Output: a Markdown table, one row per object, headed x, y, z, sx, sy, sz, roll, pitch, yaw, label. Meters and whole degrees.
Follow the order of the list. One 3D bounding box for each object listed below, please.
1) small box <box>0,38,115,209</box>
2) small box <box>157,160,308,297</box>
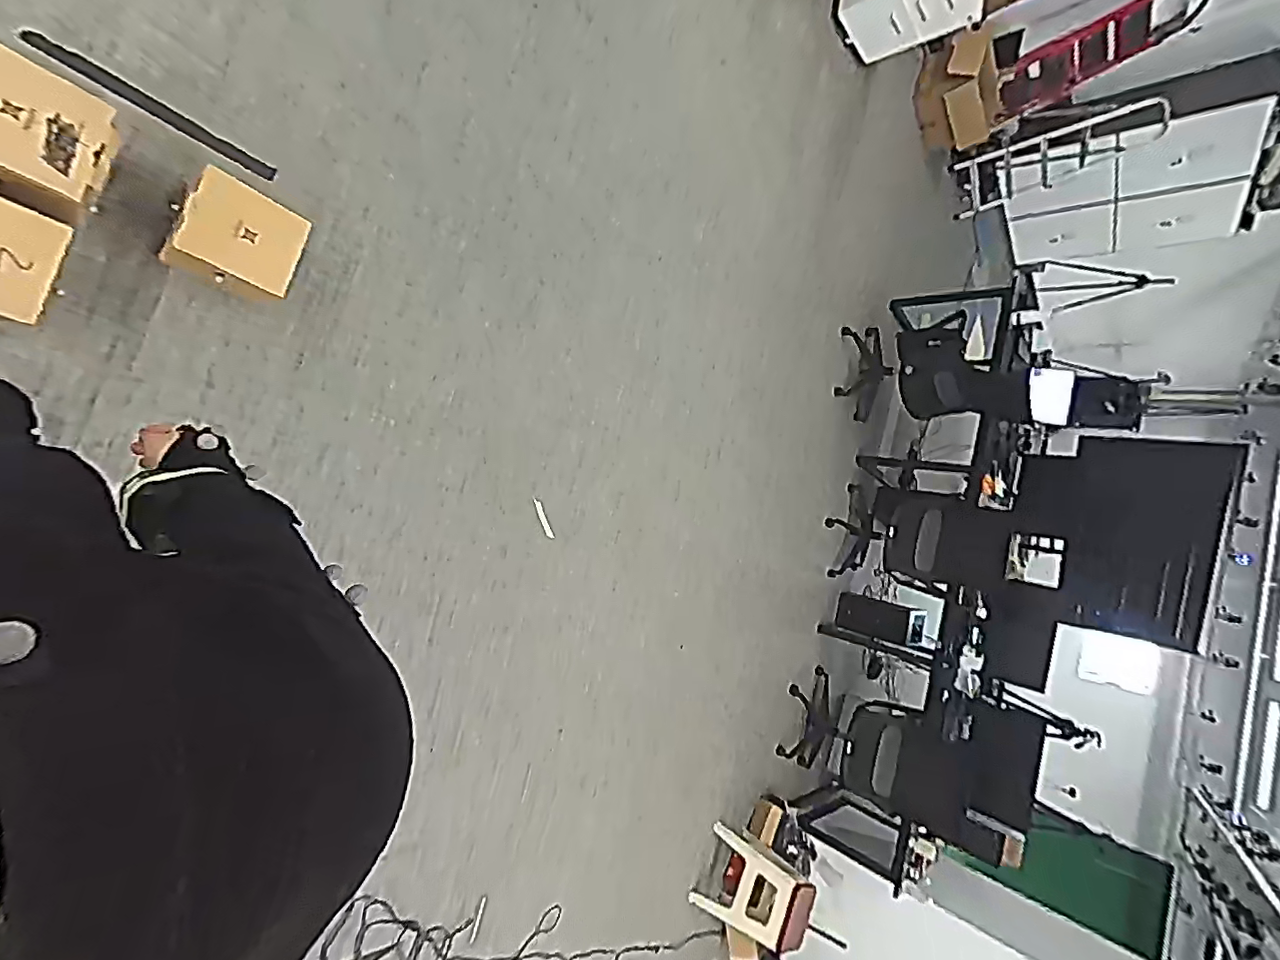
| x | y | z | sx | sy | sz | roll | pitch | yaw | label |
| --- | --- | --- | --- | --- | --- | --- | --- | --- | --- |
| -0.968 | -0.551 | 0.840 | 0.179 | 0.176 | 0.168 | 23 | 80 | -47 | small box |
| -0.792 | -0.474 | 1.050 | 0.179 | 0.176 | 0.168 | 25 | 79 | -47 | small box |
